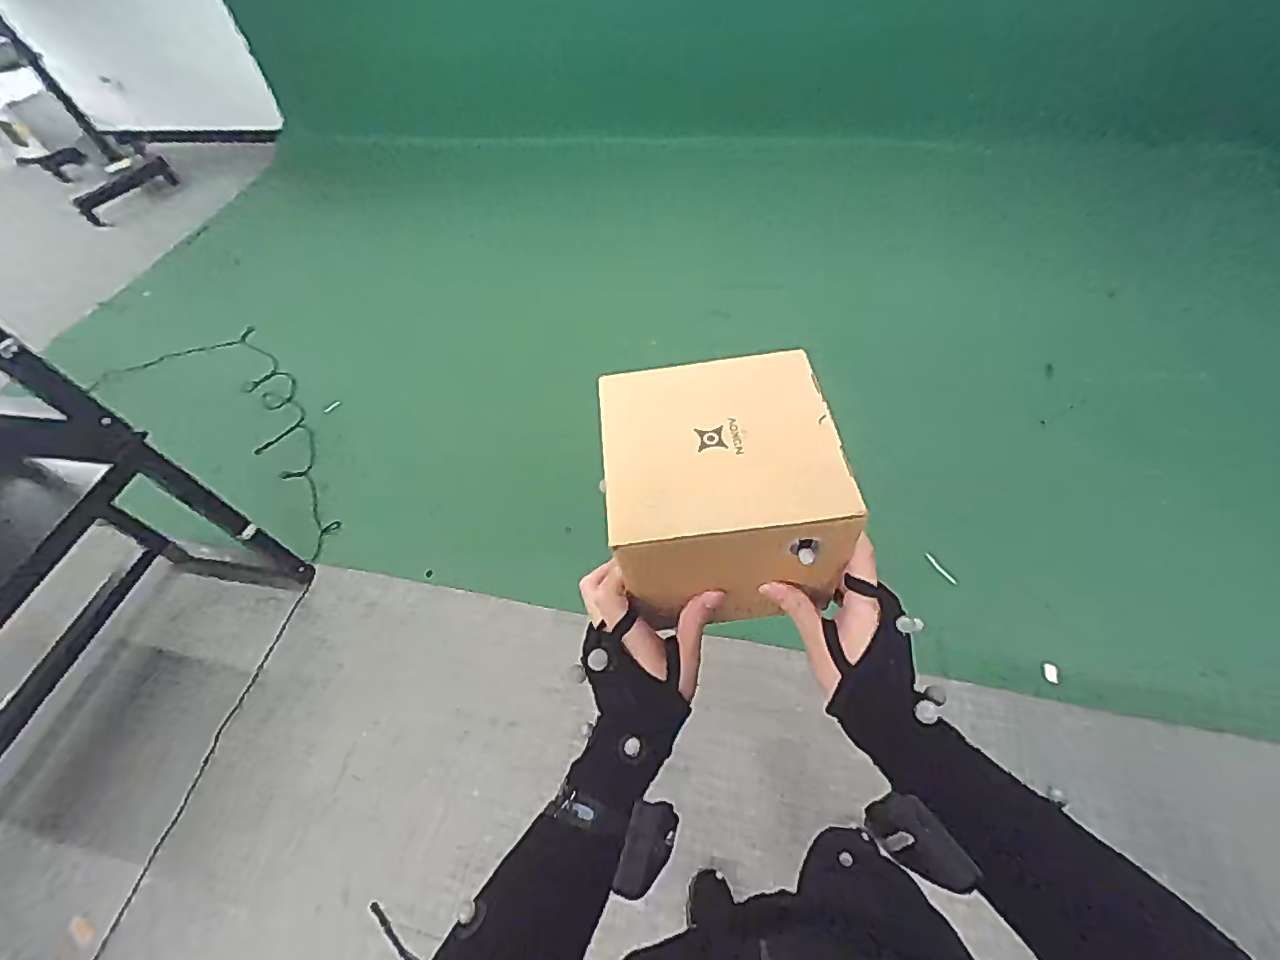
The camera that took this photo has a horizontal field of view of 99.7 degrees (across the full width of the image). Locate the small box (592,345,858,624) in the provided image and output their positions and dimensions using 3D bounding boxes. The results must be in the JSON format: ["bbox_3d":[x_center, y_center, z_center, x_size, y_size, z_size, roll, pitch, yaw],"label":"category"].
[{"bbox_3d":[0.061,0.012,0.466,0.179,0.176,0.168,-8,53,1],"label":"small box"}]
